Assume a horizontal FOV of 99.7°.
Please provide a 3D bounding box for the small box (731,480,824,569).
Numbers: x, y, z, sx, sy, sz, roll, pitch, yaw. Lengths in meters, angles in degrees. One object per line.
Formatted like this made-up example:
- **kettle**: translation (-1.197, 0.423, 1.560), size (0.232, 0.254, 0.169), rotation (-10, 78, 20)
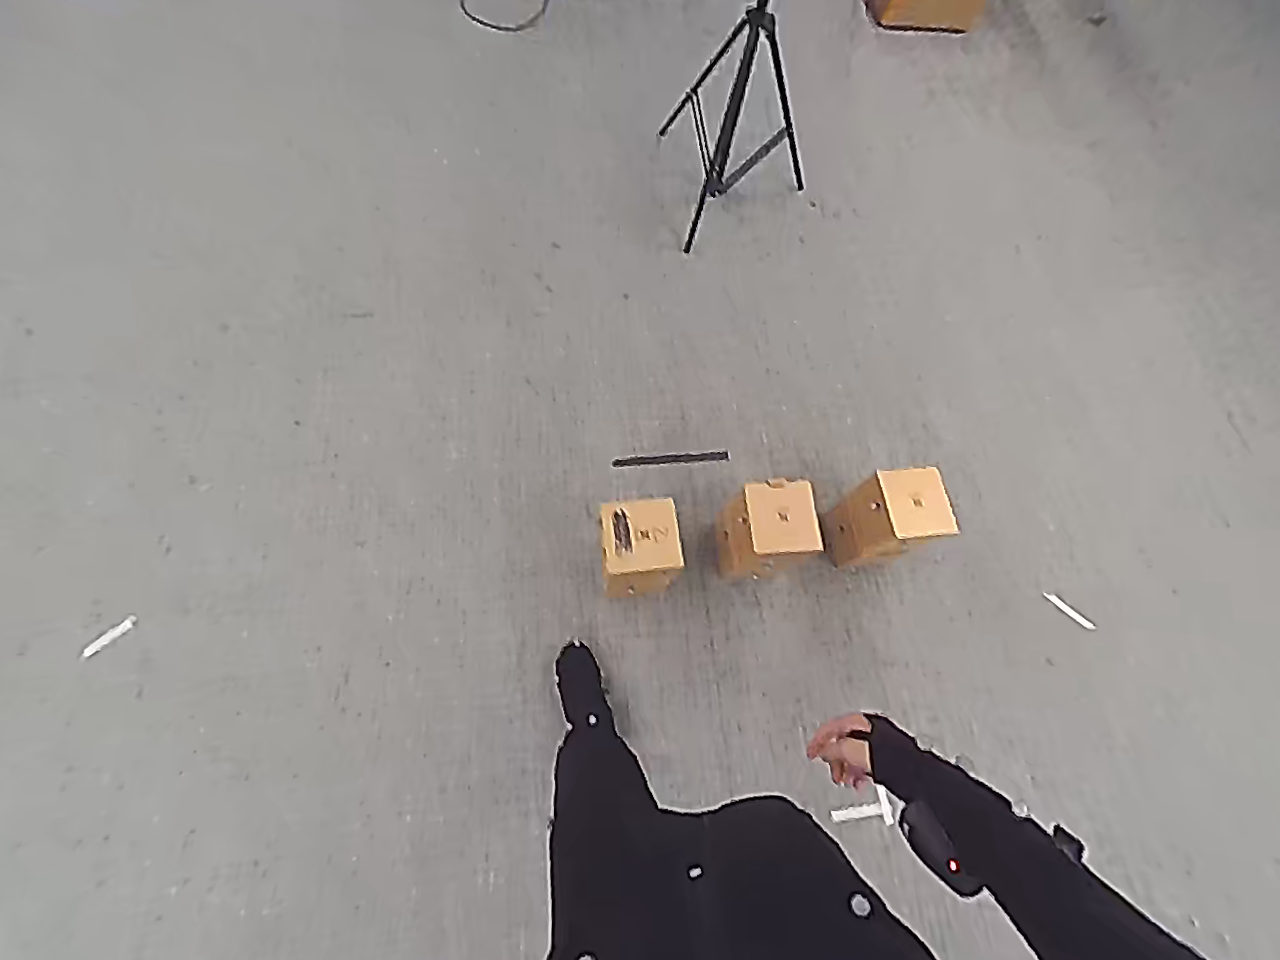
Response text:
- **small box**: translation (0.330, 0.113, 1.336), size (0.168, 0.176, 0.179), rotation (-2, 69, -6)

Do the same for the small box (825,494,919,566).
- **small box**: translation (0.650, 0.141, 1.535), size (0.168, 0.176, 0.179), rotation (-5, 69, -8)

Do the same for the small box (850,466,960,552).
- **small box**: translation (0.669, 0.081, 1.385), size (0.168, 0.176, 0.179), rotation (-5, 68, -8)

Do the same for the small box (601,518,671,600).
- **small box**: translation (-0.017, 0.214, 1.442), size (0.168, 0.176, 0.179), rotation (-4, 69, -6)

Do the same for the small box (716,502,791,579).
- **small box**: translation (0.314, 0.167, 1.490), size (0.168, 0.176, 0.179), rotation (-2, 69, -6)
